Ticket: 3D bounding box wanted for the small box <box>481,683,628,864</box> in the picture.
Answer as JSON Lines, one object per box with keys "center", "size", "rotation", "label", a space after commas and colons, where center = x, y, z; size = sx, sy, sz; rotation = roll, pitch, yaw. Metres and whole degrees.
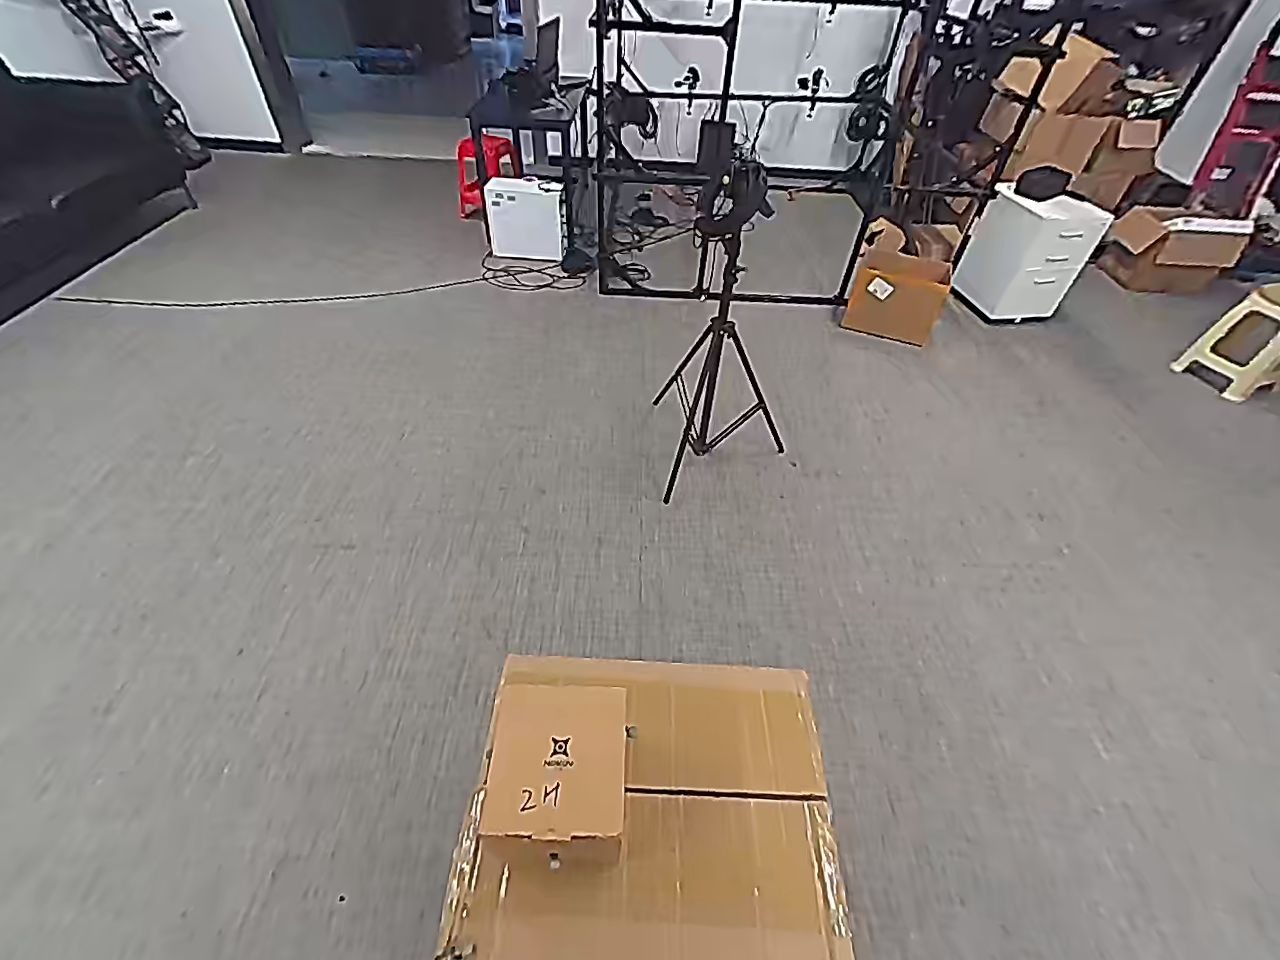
{"center": [-0.104, 0.395, 0.728], "size": [0.168, 0.176, 0.179], "rotation": [2, 47, -2], "label": "small box"}
